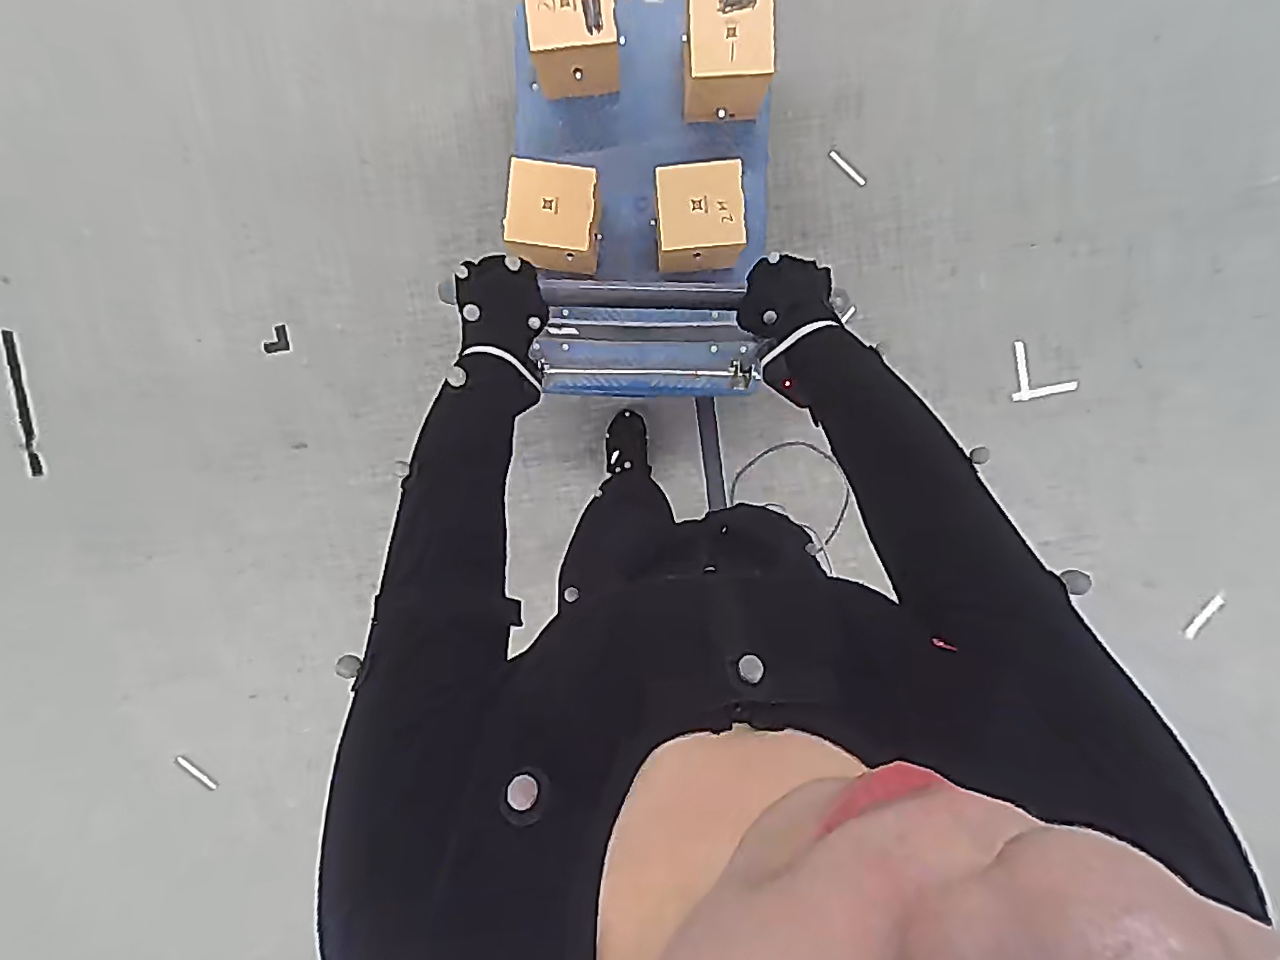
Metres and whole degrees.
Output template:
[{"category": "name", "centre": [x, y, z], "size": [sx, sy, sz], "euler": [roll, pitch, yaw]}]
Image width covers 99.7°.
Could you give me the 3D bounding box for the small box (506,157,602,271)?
[{"category": "small box", "centre": [-0.181, -0.571, 1.181], "size": [0.179, 0.176, 0.168], "euler": [6, 95, -2]}]

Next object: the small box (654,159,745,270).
[{"category": "small box", "centre": [0.124, -0.568, 1.179], "size": [0.179, 0.176, 0.168], "euler": [-5, 96, 1]}]

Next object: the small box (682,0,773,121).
[{"category": "small box", "centre": [0.180, -0.900, 1.146], "size": [0.168, 0.176, 0.179], "euler": [-2, 96, 1]}]
